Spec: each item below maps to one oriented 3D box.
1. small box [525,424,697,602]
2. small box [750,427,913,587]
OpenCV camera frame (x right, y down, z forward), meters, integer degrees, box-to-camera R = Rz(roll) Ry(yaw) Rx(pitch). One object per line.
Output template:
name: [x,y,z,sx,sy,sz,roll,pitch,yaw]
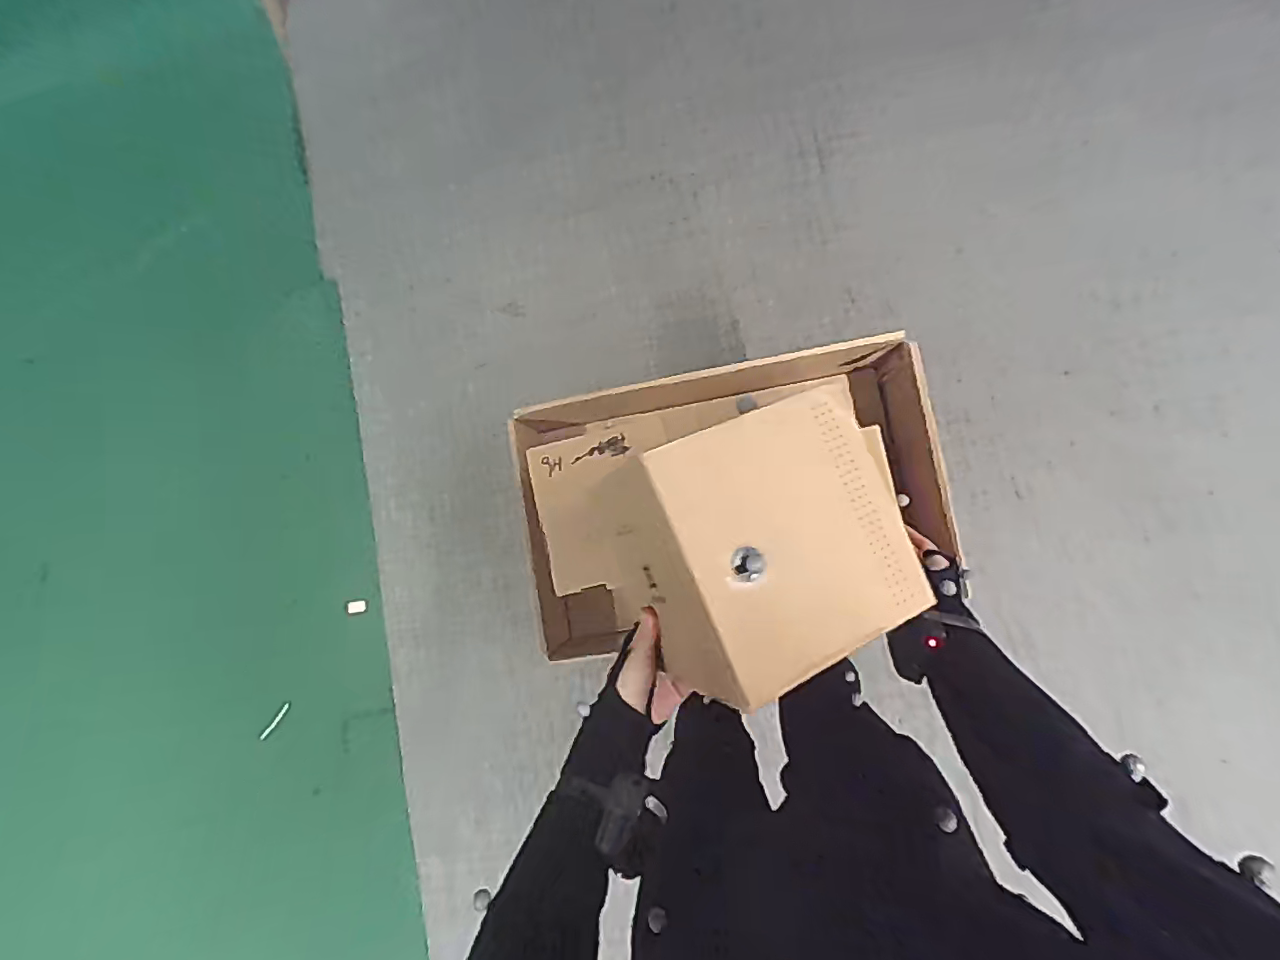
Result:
small box: [-0.025,0.041,0.686,0.168,0.176,0.179,-13,85,6]
small box: [0.257,0.044,0.745,0.168,0.176,0.179,-13,80,18]
